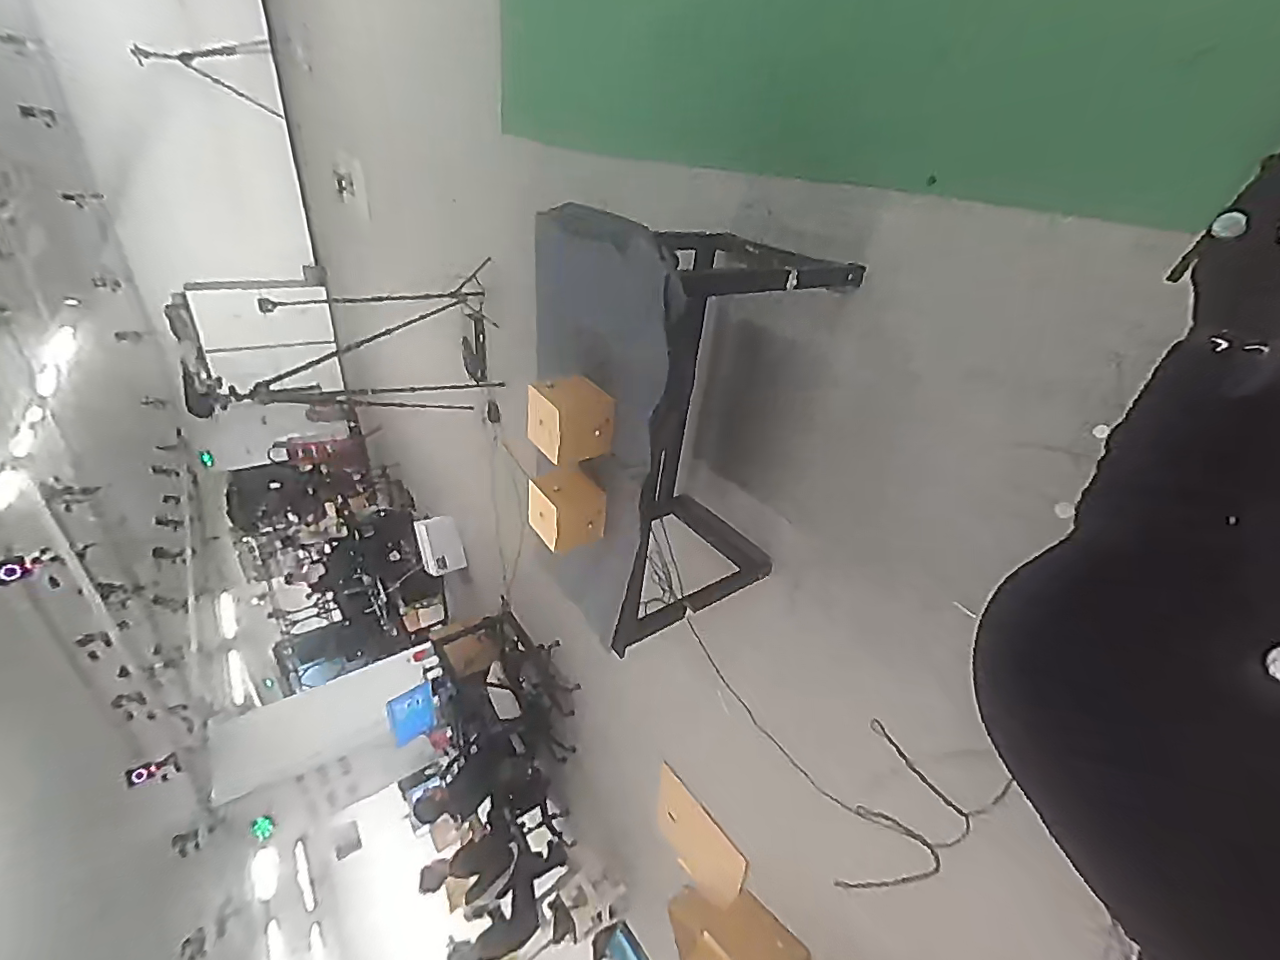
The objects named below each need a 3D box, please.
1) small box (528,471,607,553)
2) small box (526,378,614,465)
[{"bbox_3d":[-0.220,0.086,1.613,0.179,0.176,0.168,39,133,40],"label":"small box"},{"bbox_3d":[-0.191,-0.165,1.455,0.179,0.176,0.168,40,135,40],"label":"small box"}]
